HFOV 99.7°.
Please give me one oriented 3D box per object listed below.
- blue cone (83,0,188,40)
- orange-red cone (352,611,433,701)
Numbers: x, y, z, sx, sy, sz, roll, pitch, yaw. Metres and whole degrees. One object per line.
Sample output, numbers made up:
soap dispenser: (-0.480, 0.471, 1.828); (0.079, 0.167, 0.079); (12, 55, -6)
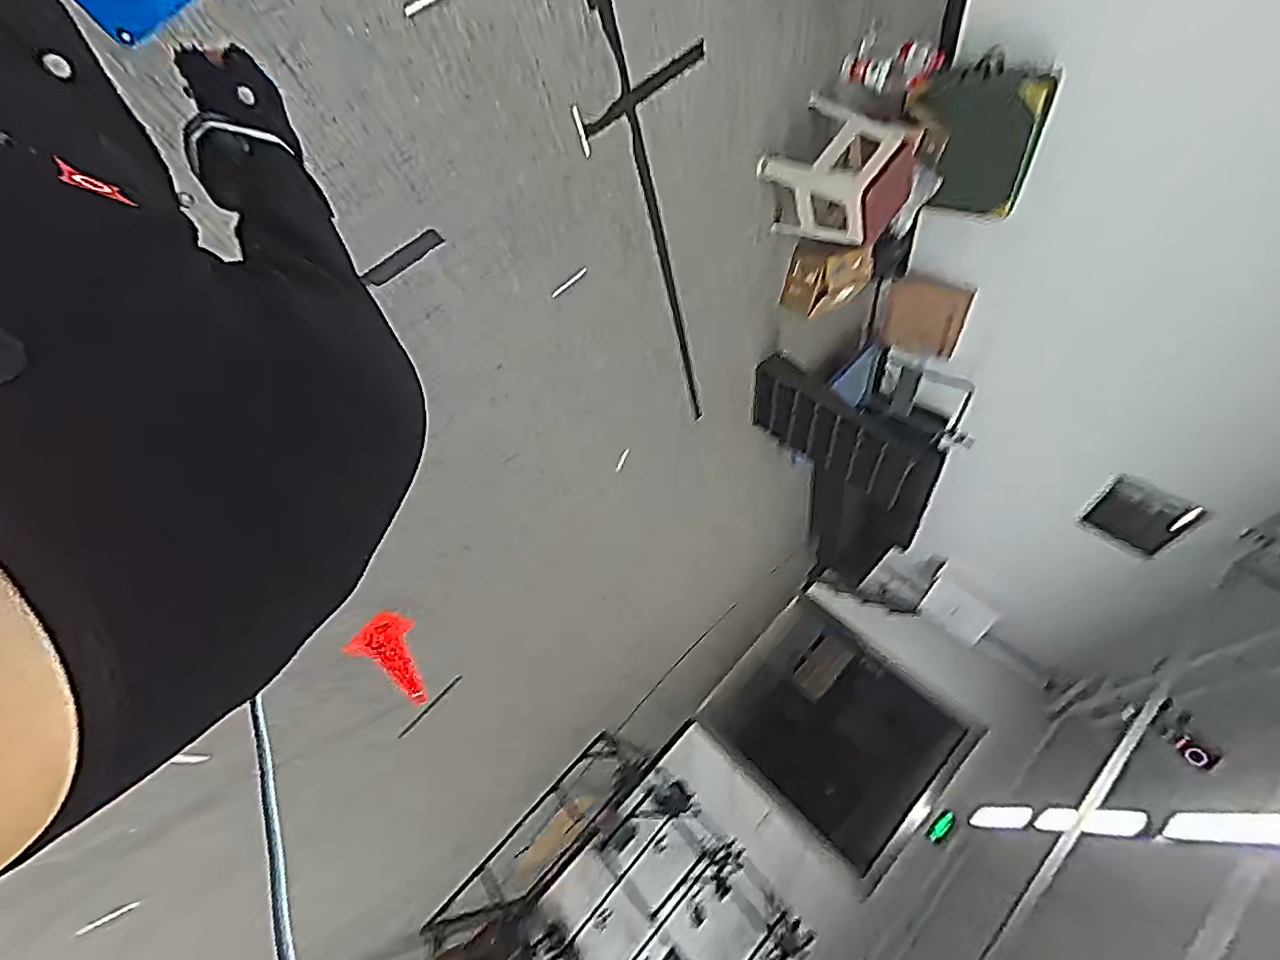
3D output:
blue cone: (-0.720, -0.757, 0.765); (0.193, 0.380, 0.192); (-47, 149, -9)
orange-red cone: (-0.894, 0.701, 2.060); (0.199, 0.360, 0.198); (-48, 150, -10)
